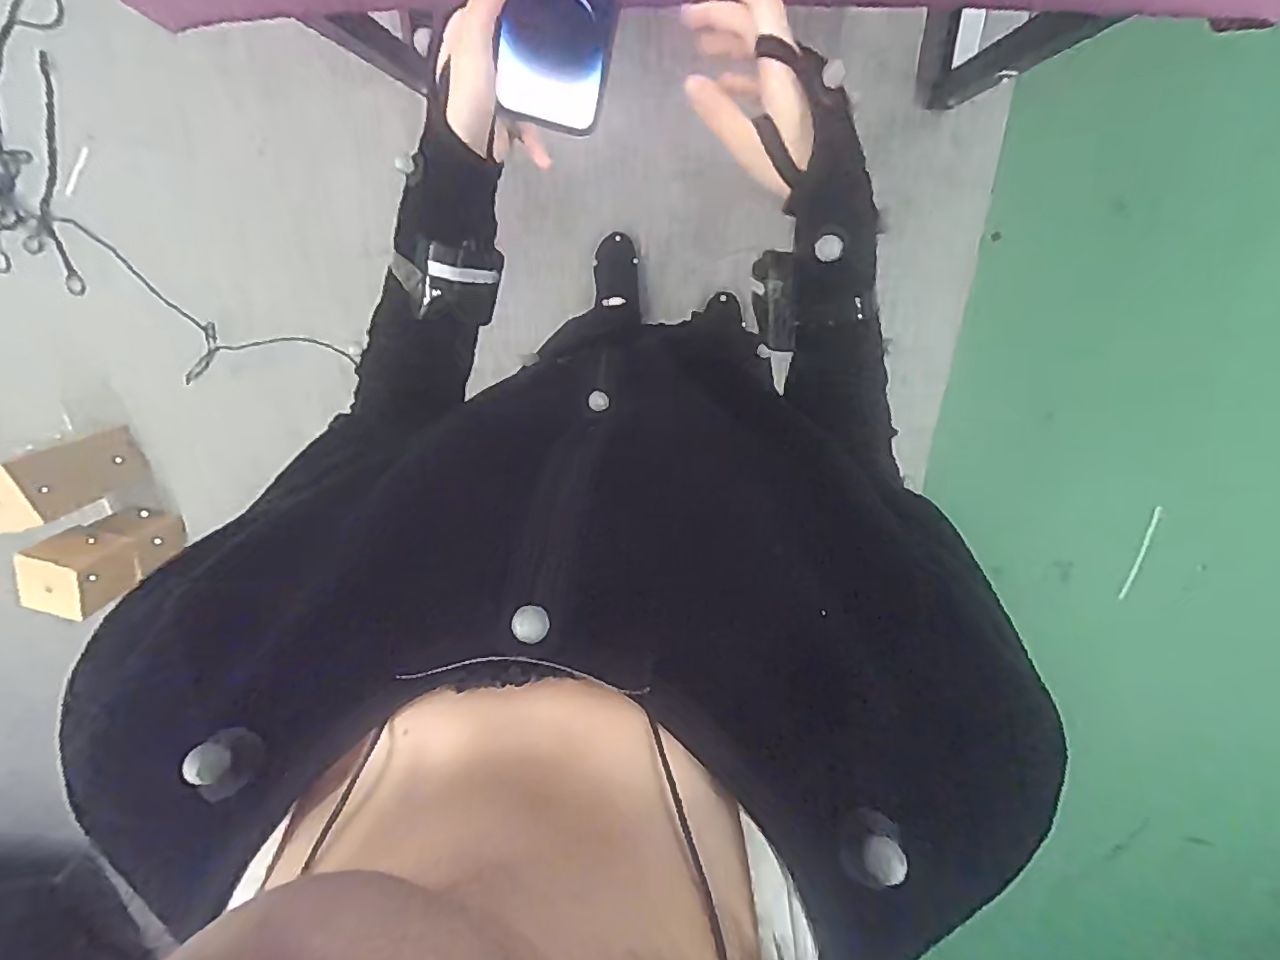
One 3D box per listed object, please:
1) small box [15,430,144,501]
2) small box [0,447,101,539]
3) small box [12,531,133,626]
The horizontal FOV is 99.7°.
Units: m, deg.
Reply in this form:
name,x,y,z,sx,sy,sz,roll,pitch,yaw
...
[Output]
name,x,y,z,sx,sy,sz,roll,pitch,yaw
small box,-1.598,-0.039,1.561,0.179,0.176,0.168,-5,113,6
small box,-1.593,0.031,1.413,0.168,0.176,0.179,-10,112,6
small box,-1.577,0.271,1.517,0.168,0.176,0.179,17,111,-3
